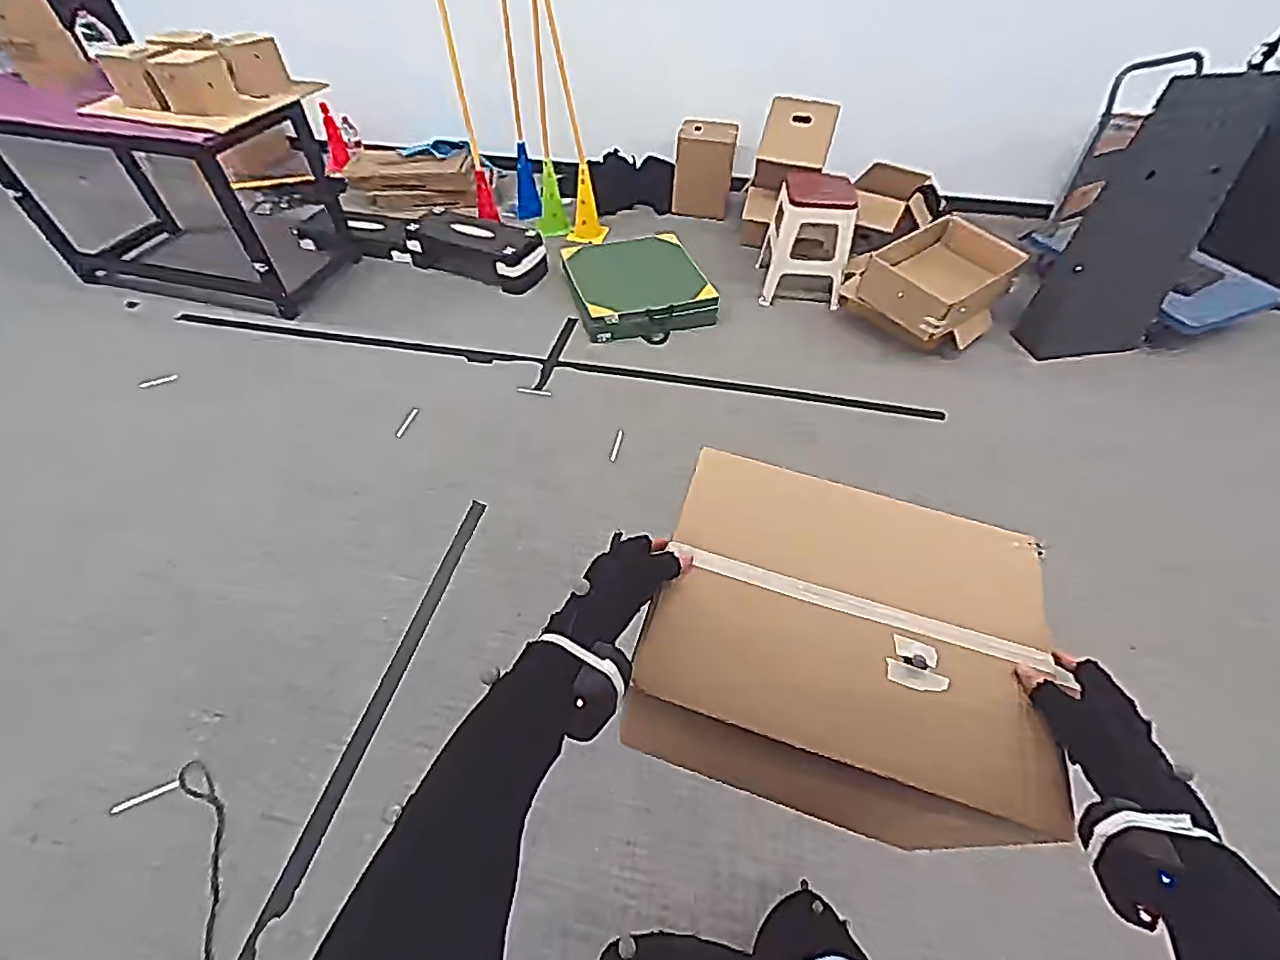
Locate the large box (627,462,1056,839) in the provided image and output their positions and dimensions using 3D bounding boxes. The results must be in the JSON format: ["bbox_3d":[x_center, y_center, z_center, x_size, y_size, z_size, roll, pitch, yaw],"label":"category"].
[{"bbox_3d":[0.219,0.229,0.713,0.408,0.320,0.320,17,57,8],"label":"large box"}]
